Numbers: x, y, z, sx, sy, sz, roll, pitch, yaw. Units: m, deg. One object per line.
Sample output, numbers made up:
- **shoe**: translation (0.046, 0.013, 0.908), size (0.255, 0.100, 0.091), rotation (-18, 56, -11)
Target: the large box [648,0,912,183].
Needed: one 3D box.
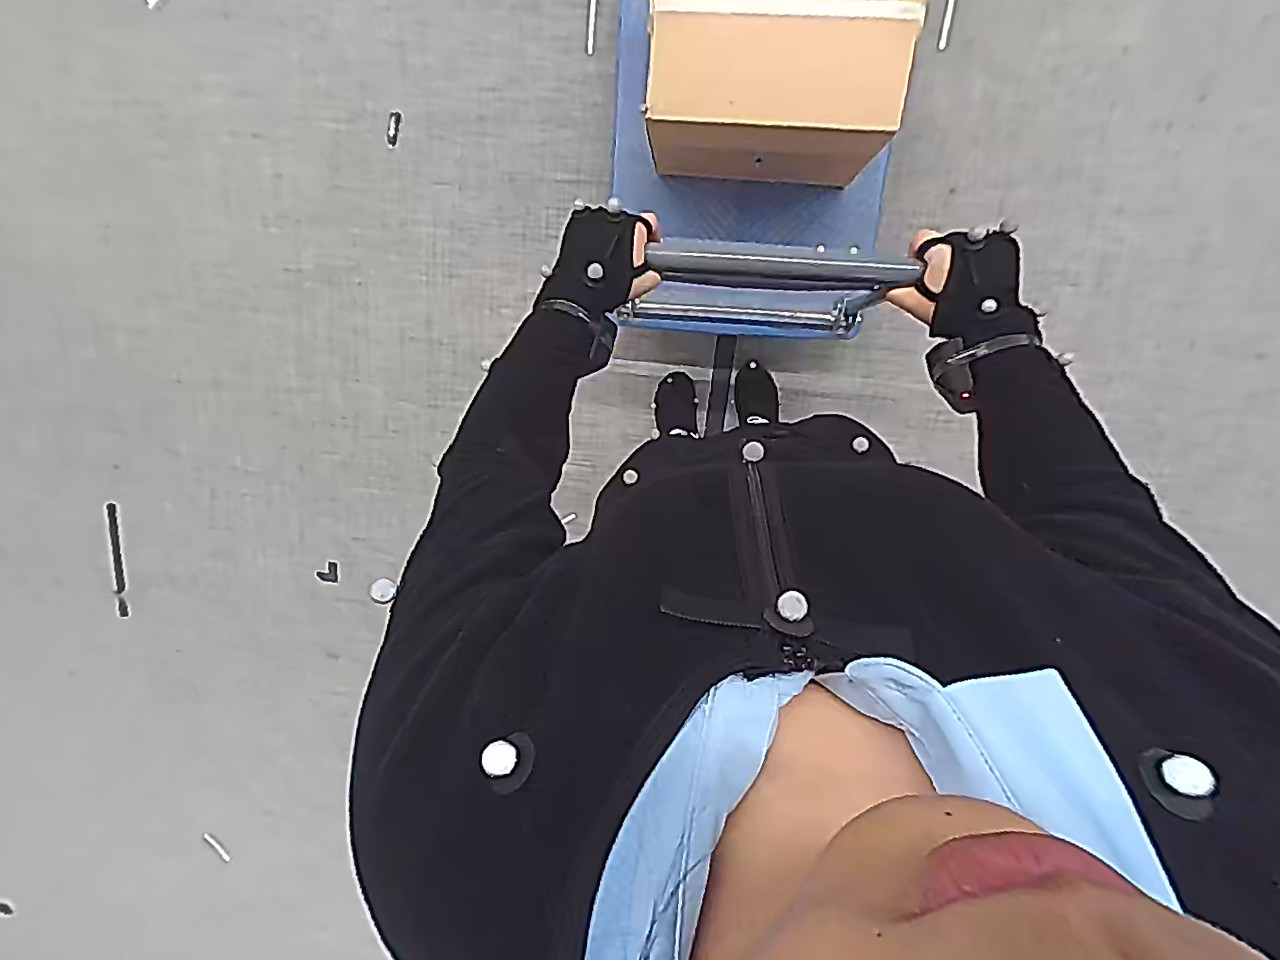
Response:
- **large box**: translation (0.237, -0.759, 0.994), size (0.408, 0.320, 0.320), rotation (6, 103, 5)
